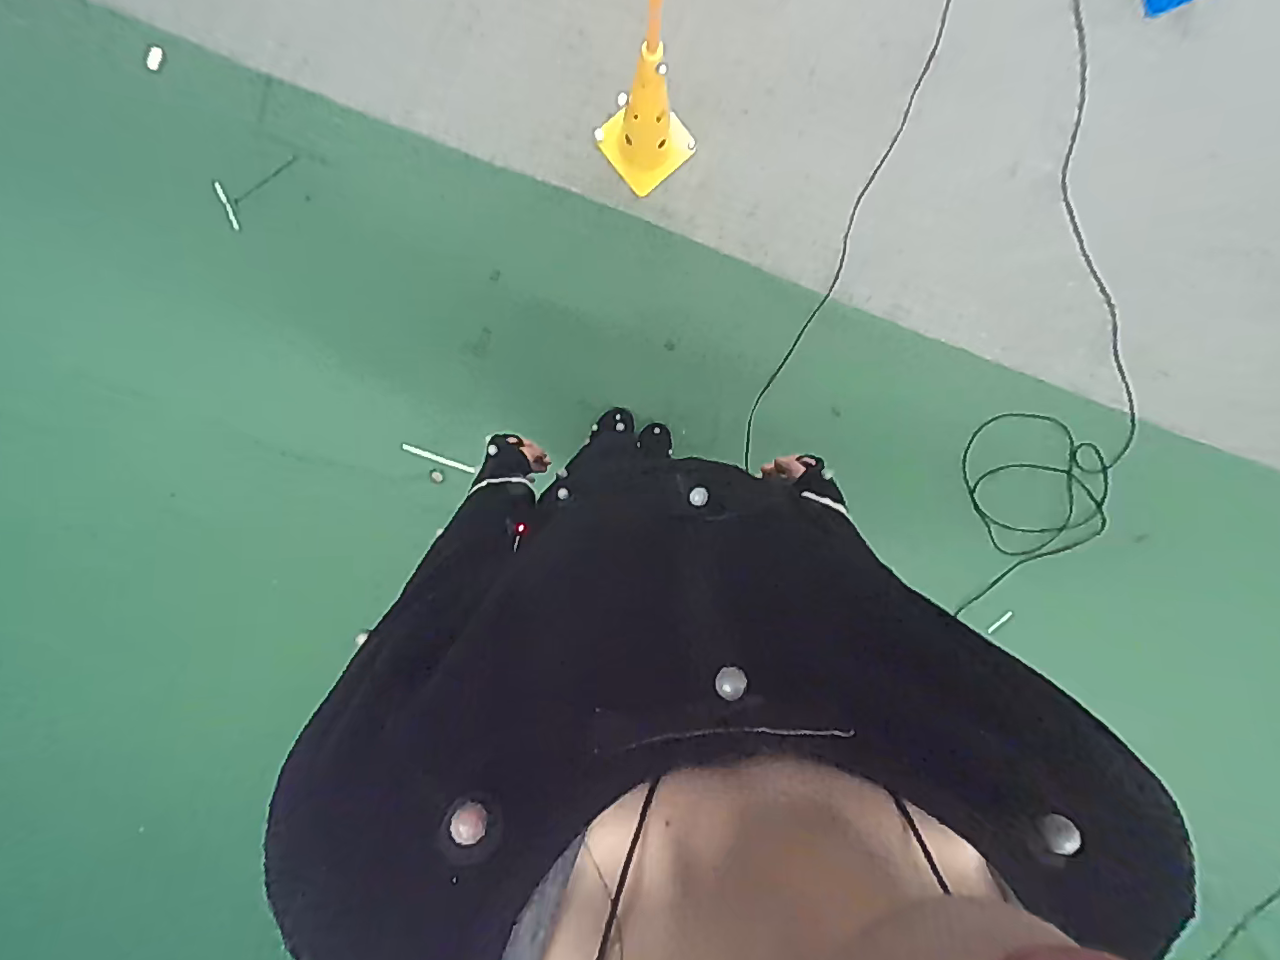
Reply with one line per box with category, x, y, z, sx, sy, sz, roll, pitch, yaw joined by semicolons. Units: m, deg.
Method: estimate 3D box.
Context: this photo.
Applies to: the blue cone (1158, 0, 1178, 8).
blue cone;1.391;-1.314;1.212;0.193;0.380;0.192;-25;95;-2
